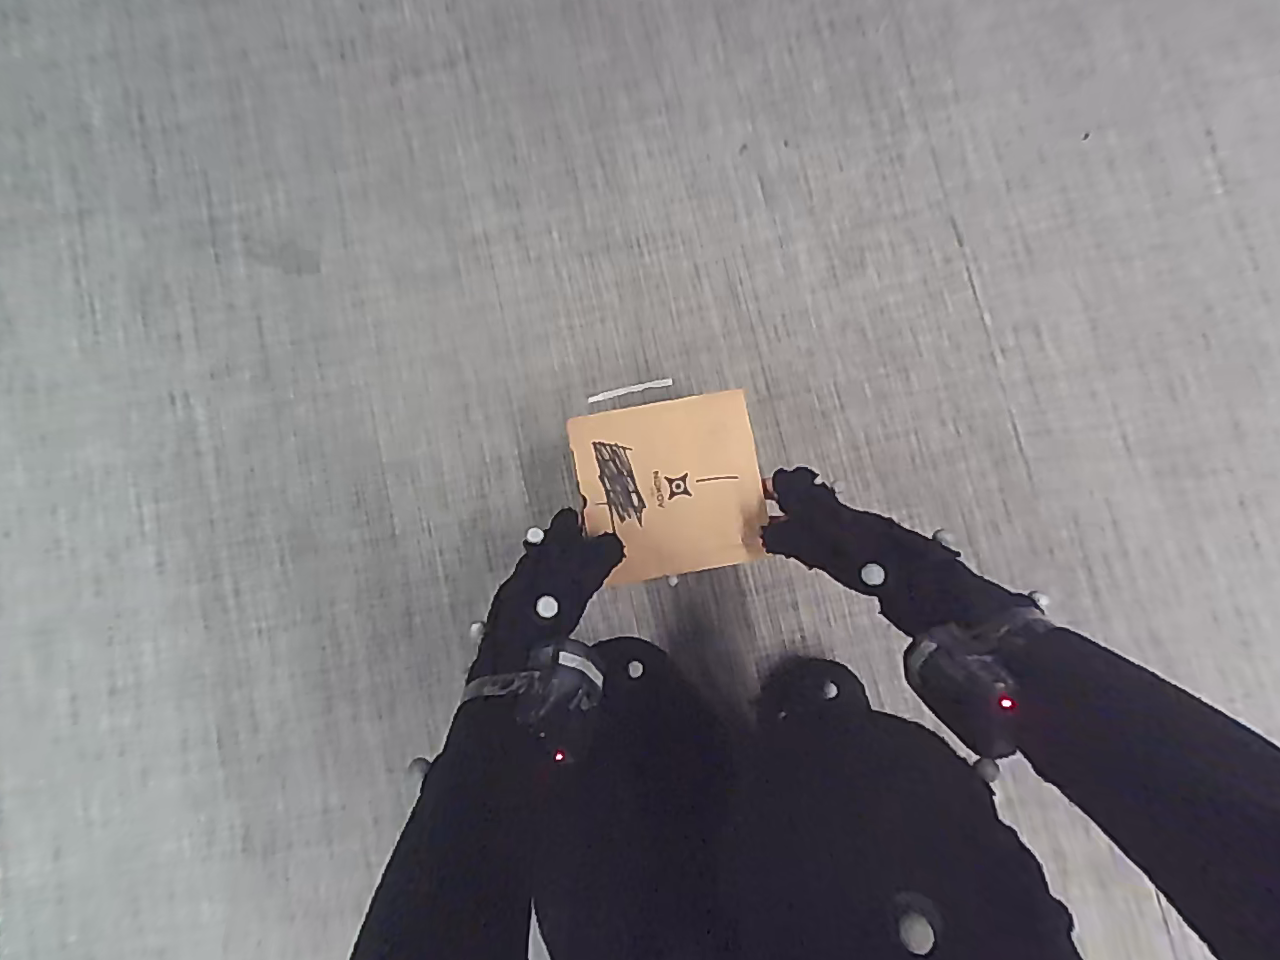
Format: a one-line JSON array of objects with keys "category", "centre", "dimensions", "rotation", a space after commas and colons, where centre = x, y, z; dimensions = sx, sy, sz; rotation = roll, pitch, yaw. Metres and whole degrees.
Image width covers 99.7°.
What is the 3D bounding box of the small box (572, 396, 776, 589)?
[{"category": "small box", "centre": [0.035, 0.021, 0.597], "dimensions": [0.179, 0.176, 0.168], "rotation": [-10, 83, 1]}]
